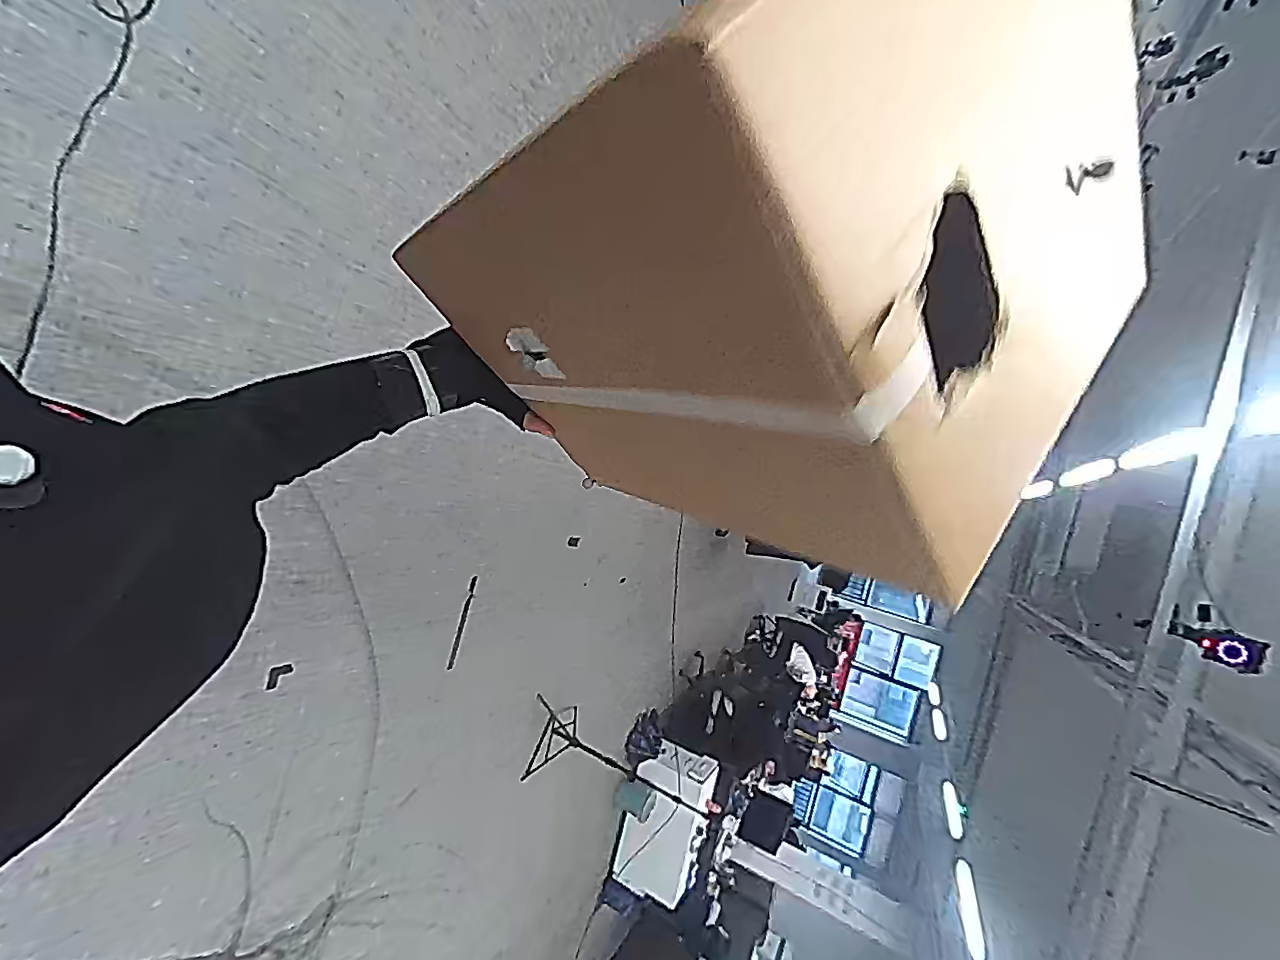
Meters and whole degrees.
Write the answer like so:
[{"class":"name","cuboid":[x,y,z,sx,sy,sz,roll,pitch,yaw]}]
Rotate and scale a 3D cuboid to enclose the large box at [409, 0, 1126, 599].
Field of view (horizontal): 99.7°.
[{"class":"large box","cuboid":[0.074,-0.173,0.442,0.320,0.408,0.320,-48,123,-14]}]
